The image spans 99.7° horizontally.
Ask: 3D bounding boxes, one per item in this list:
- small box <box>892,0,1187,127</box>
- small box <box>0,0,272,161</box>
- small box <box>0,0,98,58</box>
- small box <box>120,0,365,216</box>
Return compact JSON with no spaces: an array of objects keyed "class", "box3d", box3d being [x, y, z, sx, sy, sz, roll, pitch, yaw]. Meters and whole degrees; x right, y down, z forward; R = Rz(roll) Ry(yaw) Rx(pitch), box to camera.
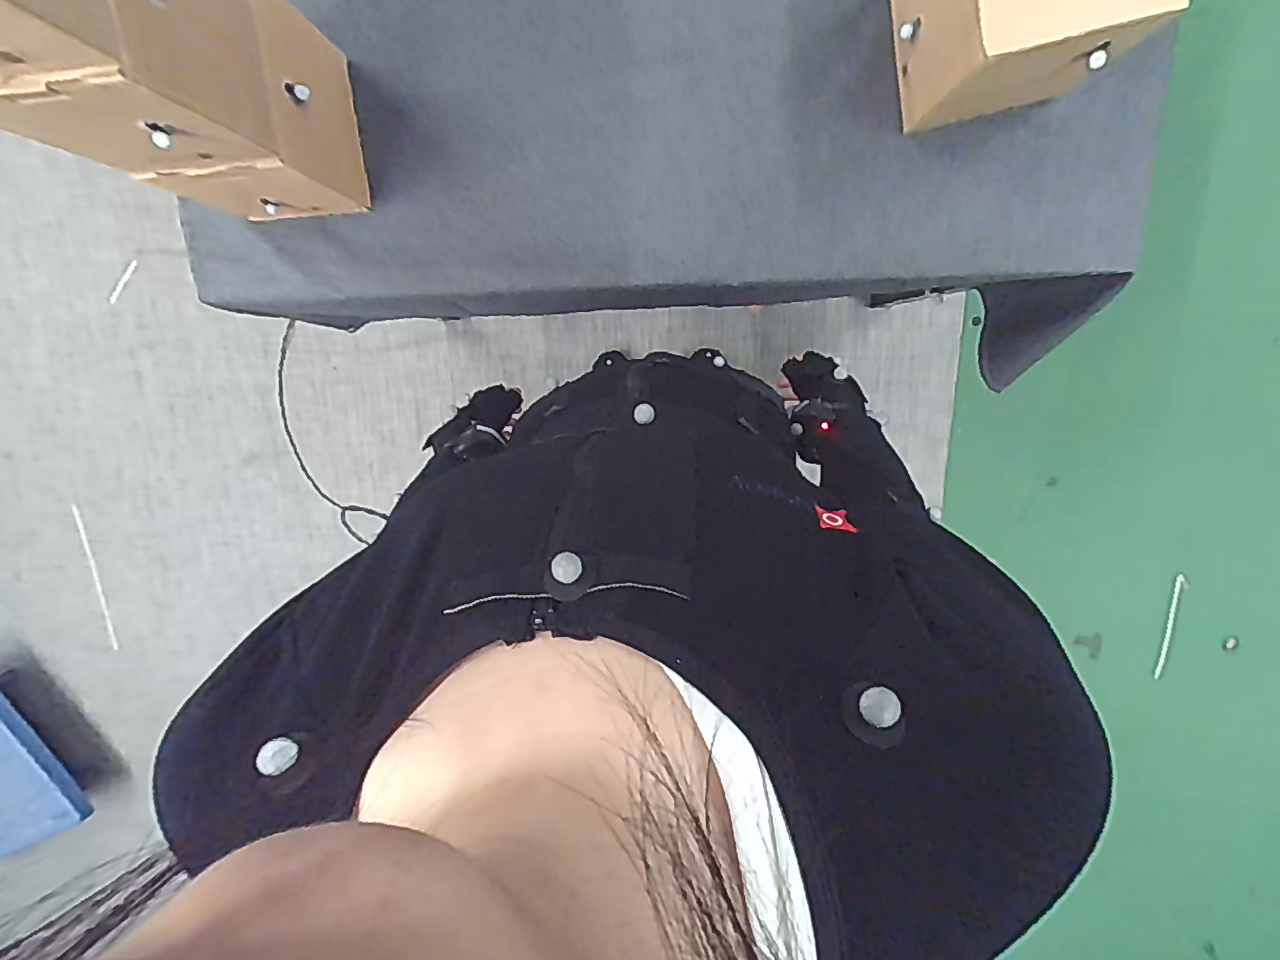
[{"class":"small box","box3d":[0.375,-0.486,0.534,0.179,0.176,0.168,-11,102,6]},{"class":"small box","box3d":[-0.440,-0.377,0.436,0.168,0.176,0.179,-3,103,2]},{"class":"small box","box3d":[-0.447,-0.347,0.275,0.168,0.176,0.179,-4,103,2]},{"class":"small box","box3d":[-0.435,-0.410,0.595,0.168,0.176,0.179,-3,103,3]}]
